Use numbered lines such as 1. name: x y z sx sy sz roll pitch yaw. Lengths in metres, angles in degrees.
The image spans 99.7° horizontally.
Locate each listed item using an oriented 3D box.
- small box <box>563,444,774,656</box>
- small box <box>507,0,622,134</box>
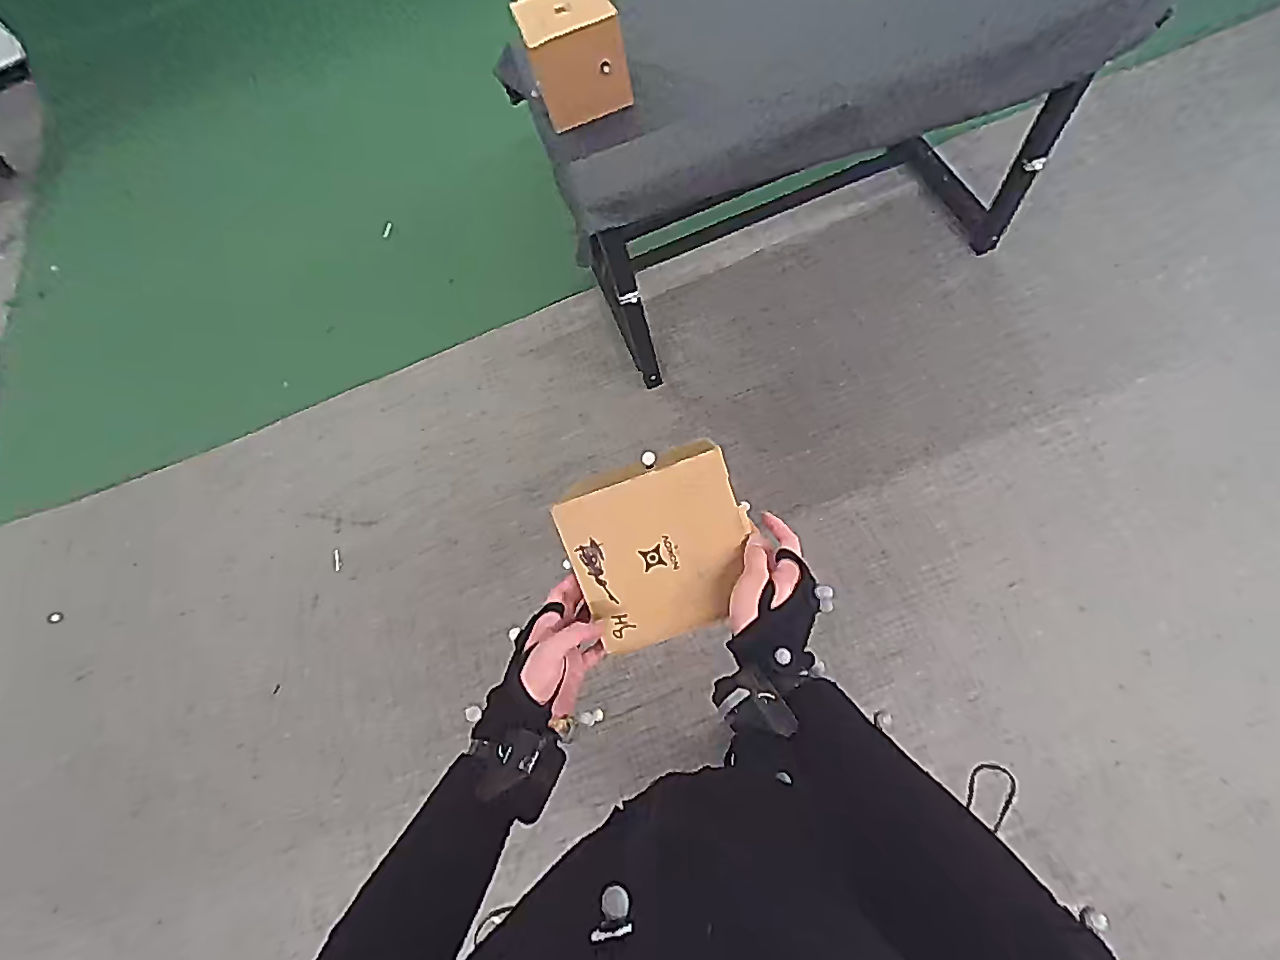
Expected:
1. small box: 0.029 0.065 0.613 0.179 0.176 0.168 -18 98 4
2. small box: -0.143 -0.846 1.087 0.179 0.176 0.168 -19 65 2
